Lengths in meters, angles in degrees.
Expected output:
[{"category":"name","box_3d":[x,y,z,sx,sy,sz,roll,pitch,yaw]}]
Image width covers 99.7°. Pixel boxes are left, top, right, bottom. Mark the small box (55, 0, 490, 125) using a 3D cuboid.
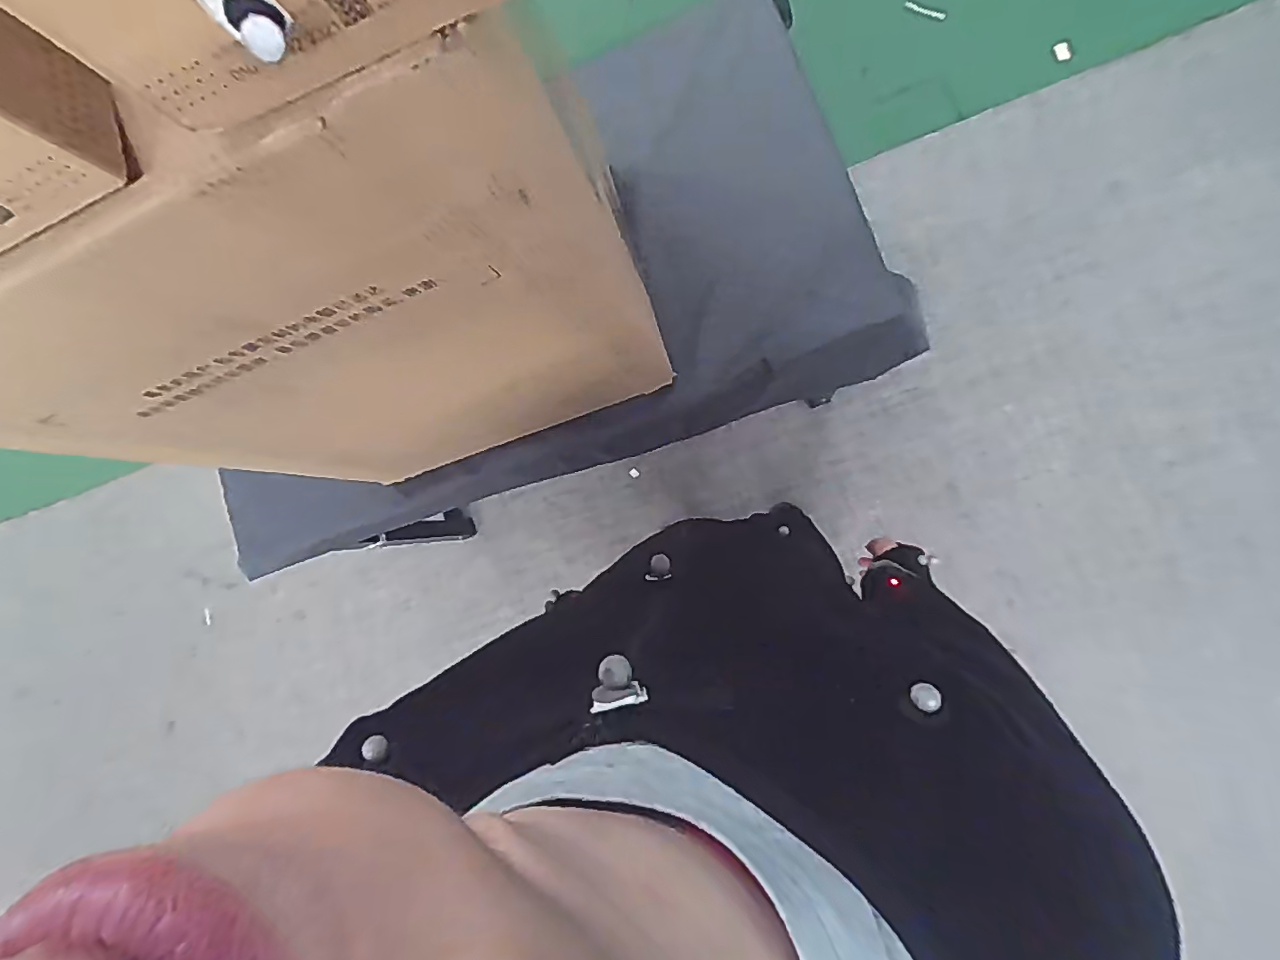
[{"category":"small box","box_3d":[-0.168,-0.274,0.178,0.168,0.176,0.179,-17,84,11]}]
